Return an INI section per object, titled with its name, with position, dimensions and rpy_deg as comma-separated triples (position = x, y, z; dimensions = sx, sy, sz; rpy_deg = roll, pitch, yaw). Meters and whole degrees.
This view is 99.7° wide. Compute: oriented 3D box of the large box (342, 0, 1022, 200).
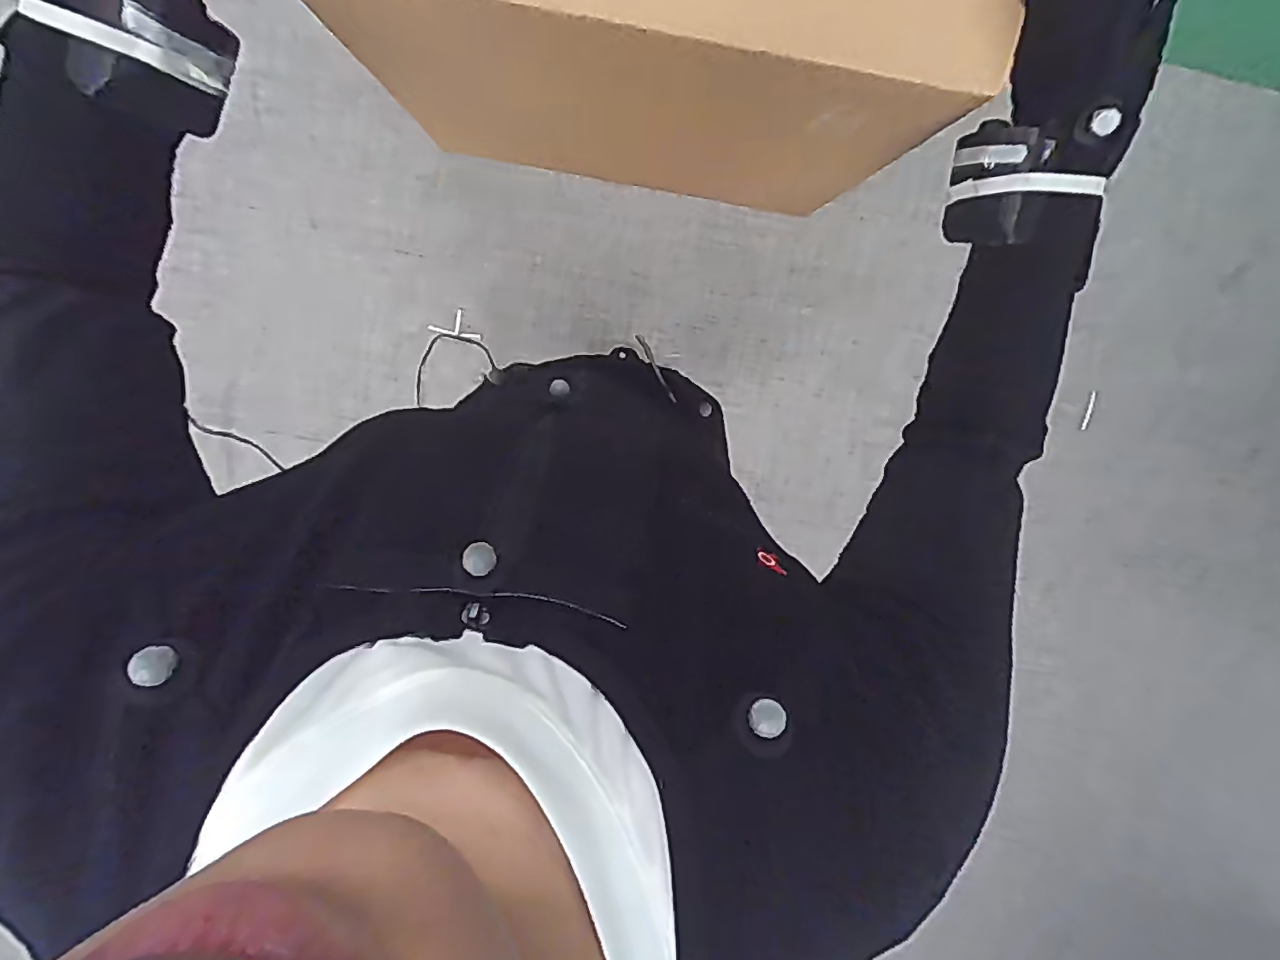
[large box]
position = 0.024, -0.437, 0.402
dimensions = 0.408, 0.320, 0.320
rpy_deg = 7, 105, -6
